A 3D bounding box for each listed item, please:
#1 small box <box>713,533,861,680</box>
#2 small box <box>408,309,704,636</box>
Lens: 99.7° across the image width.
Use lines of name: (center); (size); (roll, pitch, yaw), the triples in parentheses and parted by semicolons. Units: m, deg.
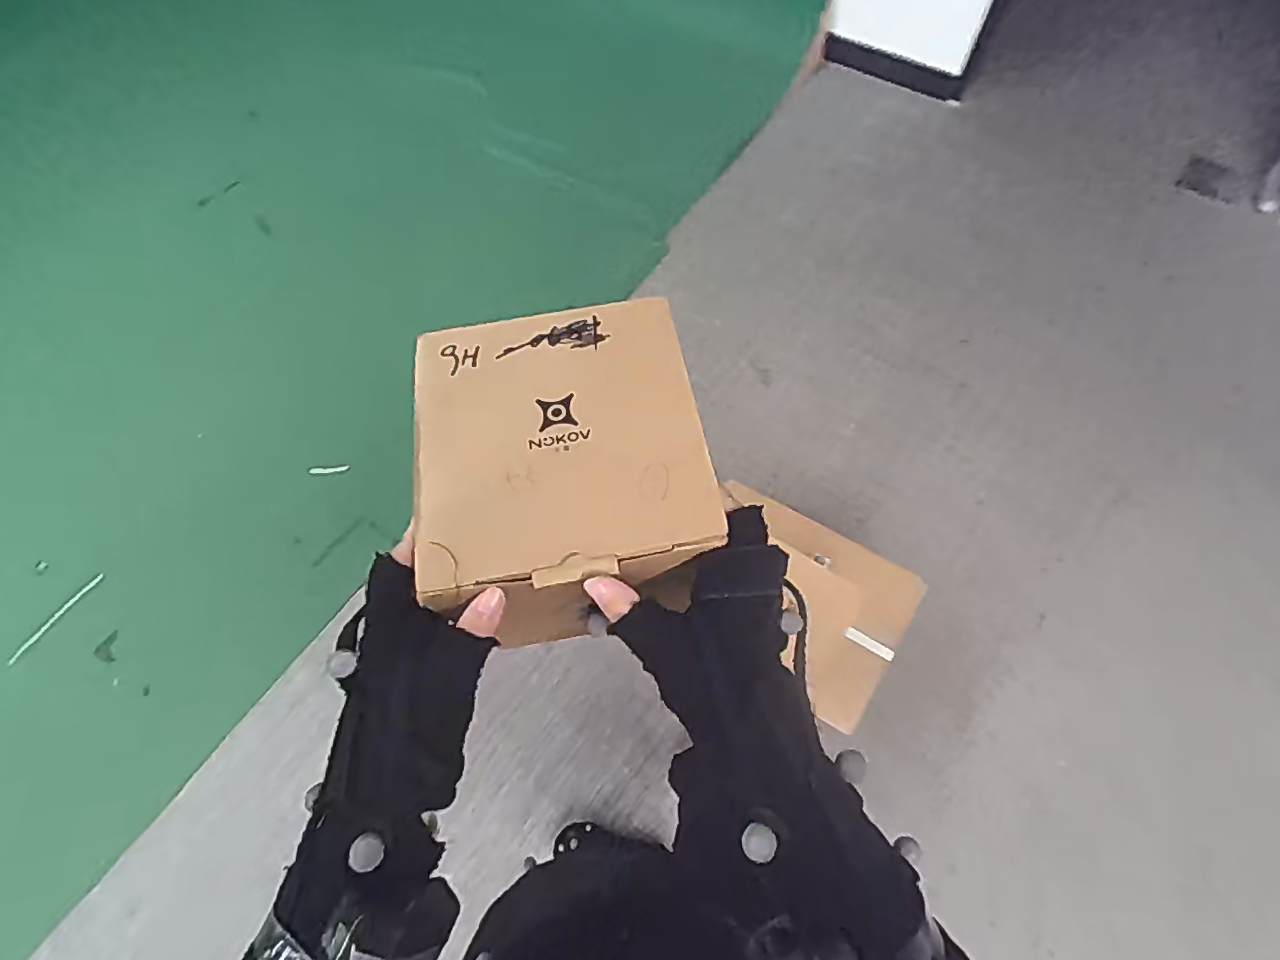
small box: (0.238, 0.219, 0.919); (0.179, 0.176, 0.168); (31, 79, 15)
small box: (-0.054, 0.009, 0.397); (0.168, 0.176, 0.179); (-11, 65, -3)
